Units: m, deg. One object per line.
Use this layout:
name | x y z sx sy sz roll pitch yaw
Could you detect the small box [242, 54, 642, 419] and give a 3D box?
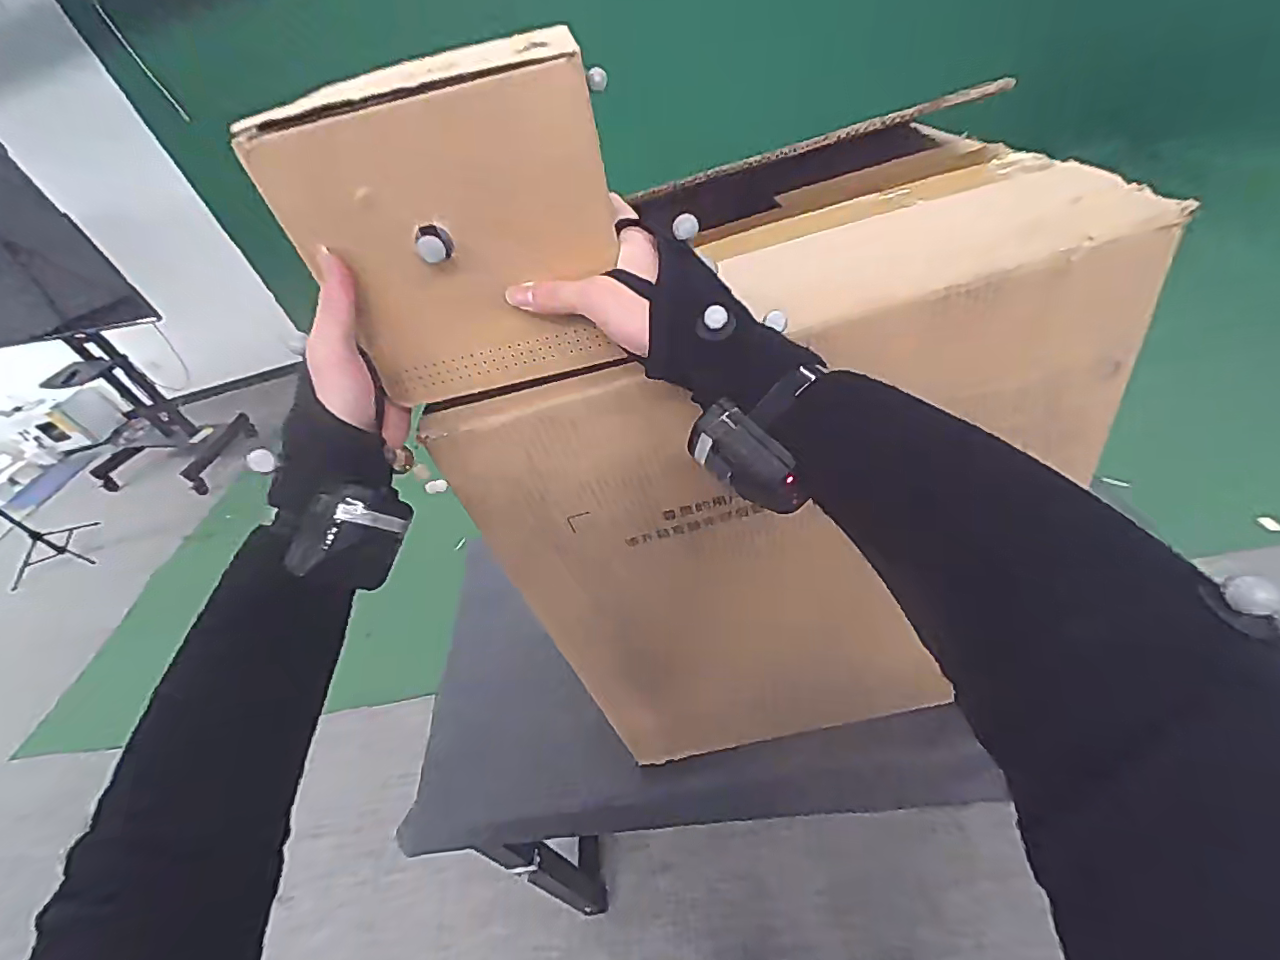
small box | -0.106 -0.163 0.372 0.179 0.176 0.168 -13 44 1
